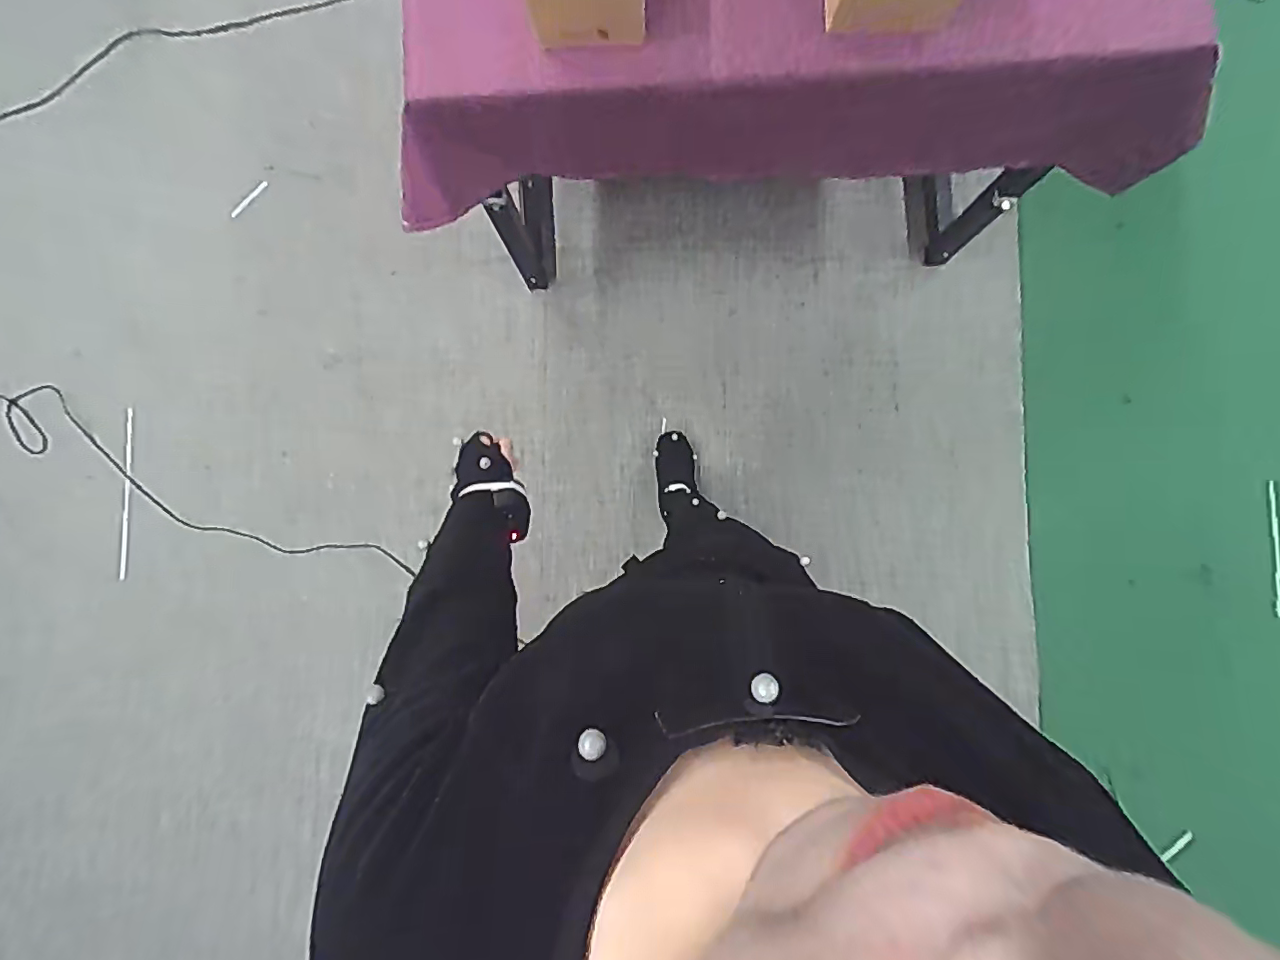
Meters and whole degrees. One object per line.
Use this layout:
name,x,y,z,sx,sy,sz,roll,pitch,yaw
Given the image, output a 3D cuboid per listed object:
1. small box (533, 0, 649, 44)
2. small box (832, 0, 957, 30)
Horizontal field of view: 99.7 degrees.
small box,-0.071,-0.747,0.735,0.168,0.176,0.179,0,86,2
small box,0.365,-0.750,0.725,0.179,0.176,0.168,-1,87,1
